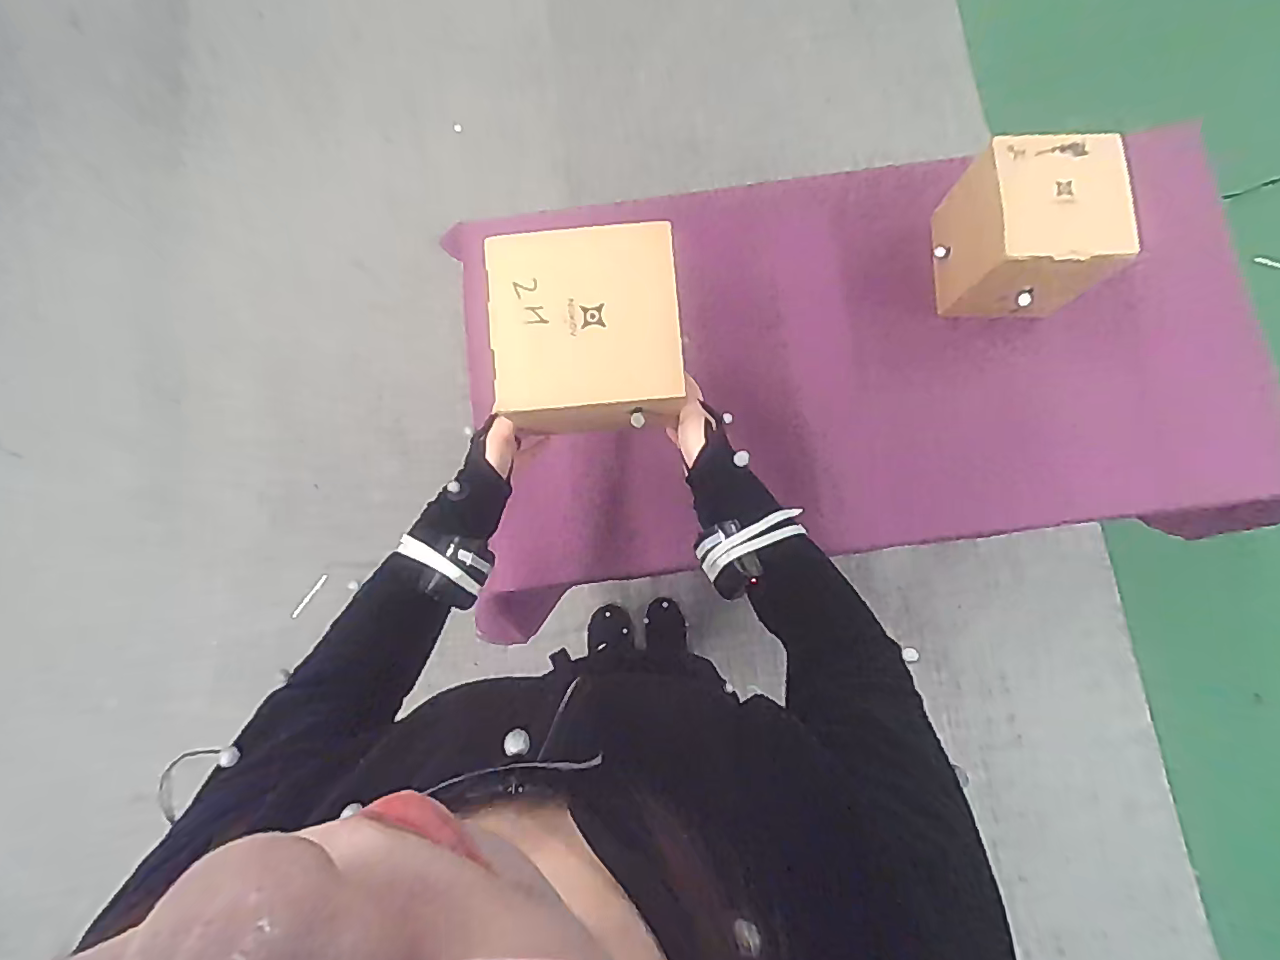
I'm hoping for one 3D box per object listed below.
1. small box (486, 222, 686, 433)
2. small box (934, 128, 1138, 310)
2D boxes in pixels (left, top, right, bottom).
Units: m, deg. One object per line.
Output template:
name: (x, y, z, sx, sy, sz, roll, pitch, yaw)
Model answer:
small box: (-0.049, -0.146, 0.571, 0.179, 0.176, 0.168, -4, 87, 2)
small box: (0.540, -0.354, 0.762, 0.168, 0.176, 0.179, 0, 82, 2)
